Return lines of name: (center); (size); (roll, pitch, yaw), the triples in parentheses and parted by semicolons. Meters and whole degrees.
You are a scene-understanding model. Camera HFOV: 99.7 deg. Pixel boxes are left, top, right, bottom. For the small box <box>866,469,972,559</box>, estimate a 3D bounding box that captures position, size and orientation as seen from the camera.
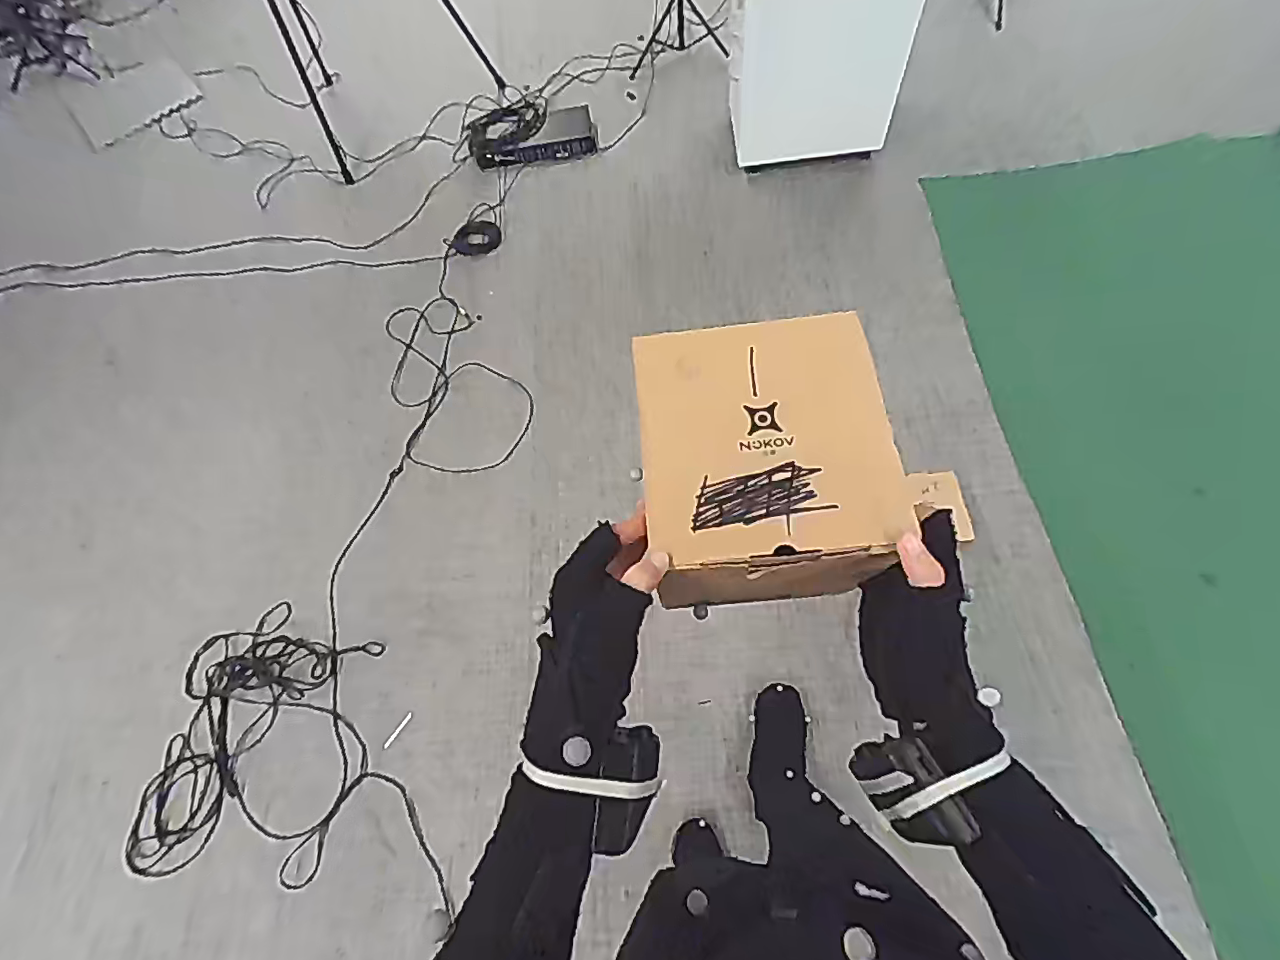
small box: (0.676, 0.092, 1.330); (0.168, 0.176, 0.179); (-5, 65, 4)
